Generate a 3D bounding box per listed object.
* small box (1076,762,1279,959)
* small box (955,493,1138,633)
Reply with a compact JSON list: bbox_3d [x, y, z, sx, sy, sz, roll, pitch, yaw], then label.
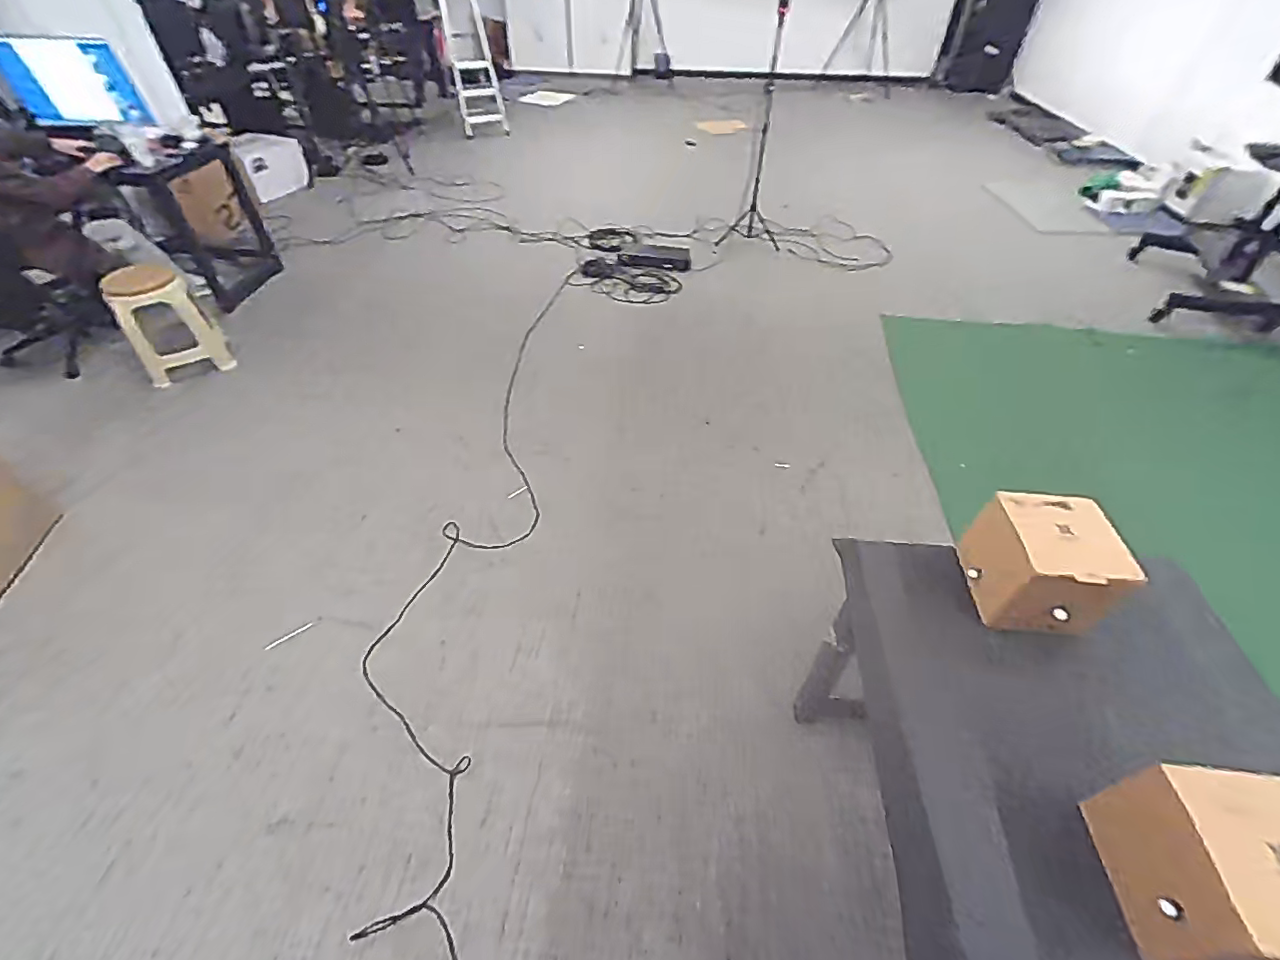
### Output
[{"bbox_3d":[0.679,0.462,0.637,0.168,0.176,0.179,7,44,2],"label":"small box"},{"bbox_3d":[0.690,0.148,0.945,0.168,0.176,0.179,6,47,2],"label":"small box"}]
